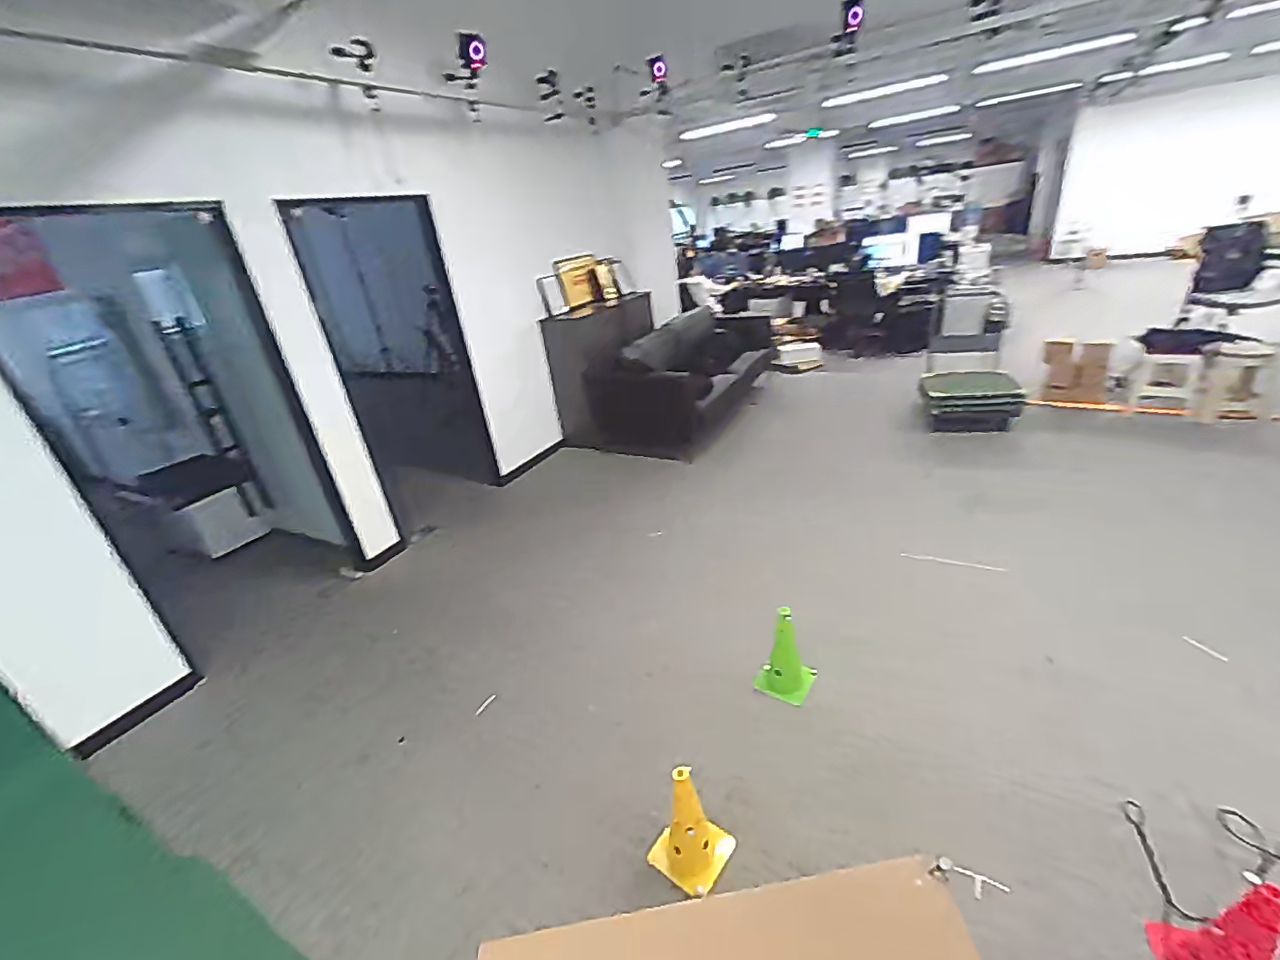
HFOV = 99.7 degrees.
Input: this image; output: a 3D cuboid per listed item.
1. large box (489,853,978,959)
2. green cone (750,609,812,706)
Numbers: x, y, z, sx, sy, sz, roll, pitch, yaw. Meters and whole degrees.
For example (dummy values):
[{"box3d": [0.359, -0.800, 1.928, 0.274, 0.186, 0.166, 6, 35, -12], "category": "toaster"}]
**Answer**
[{"box3d": [0.093, 0.577, 0.460, 0.408, 0.320, 0.320, -6, 42, -6], "category": "large box"}, {"box3d": [0.538, 0.648, 2.081, 0.200, 0.368, 0.202, 10, 32, 35], "category": "green cone"}]
